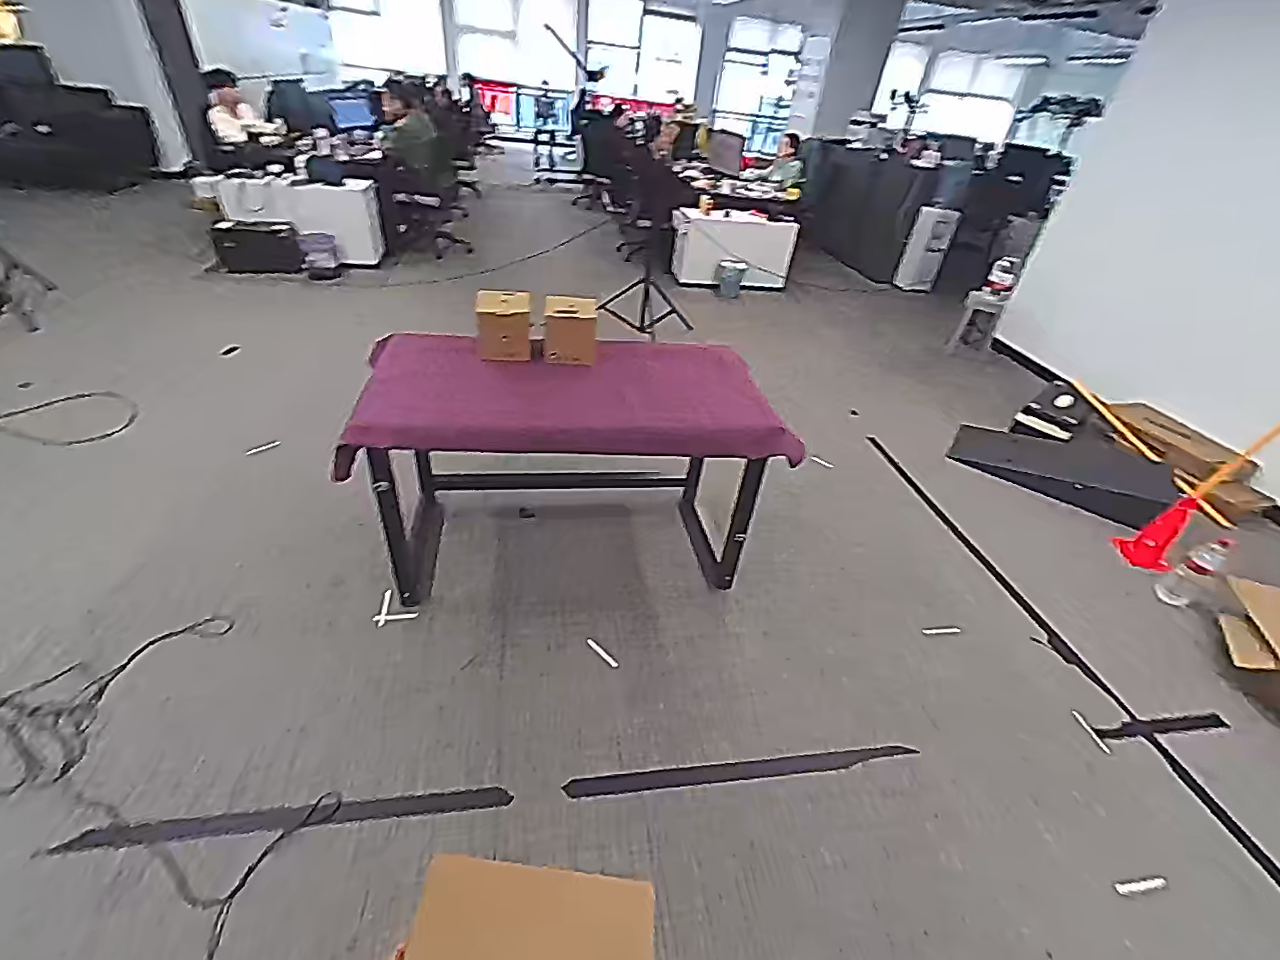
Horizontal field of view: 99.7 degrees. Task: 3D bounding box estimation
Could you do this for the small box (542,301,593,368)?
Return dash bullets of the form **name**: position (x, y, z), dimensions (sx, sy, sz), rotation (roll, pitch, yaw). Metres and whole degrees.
- **small box**: position (-0.244, -0.491, 1.833), dimensions (0.168, 0.176, 0.179), rotation (1, 37, -8)
